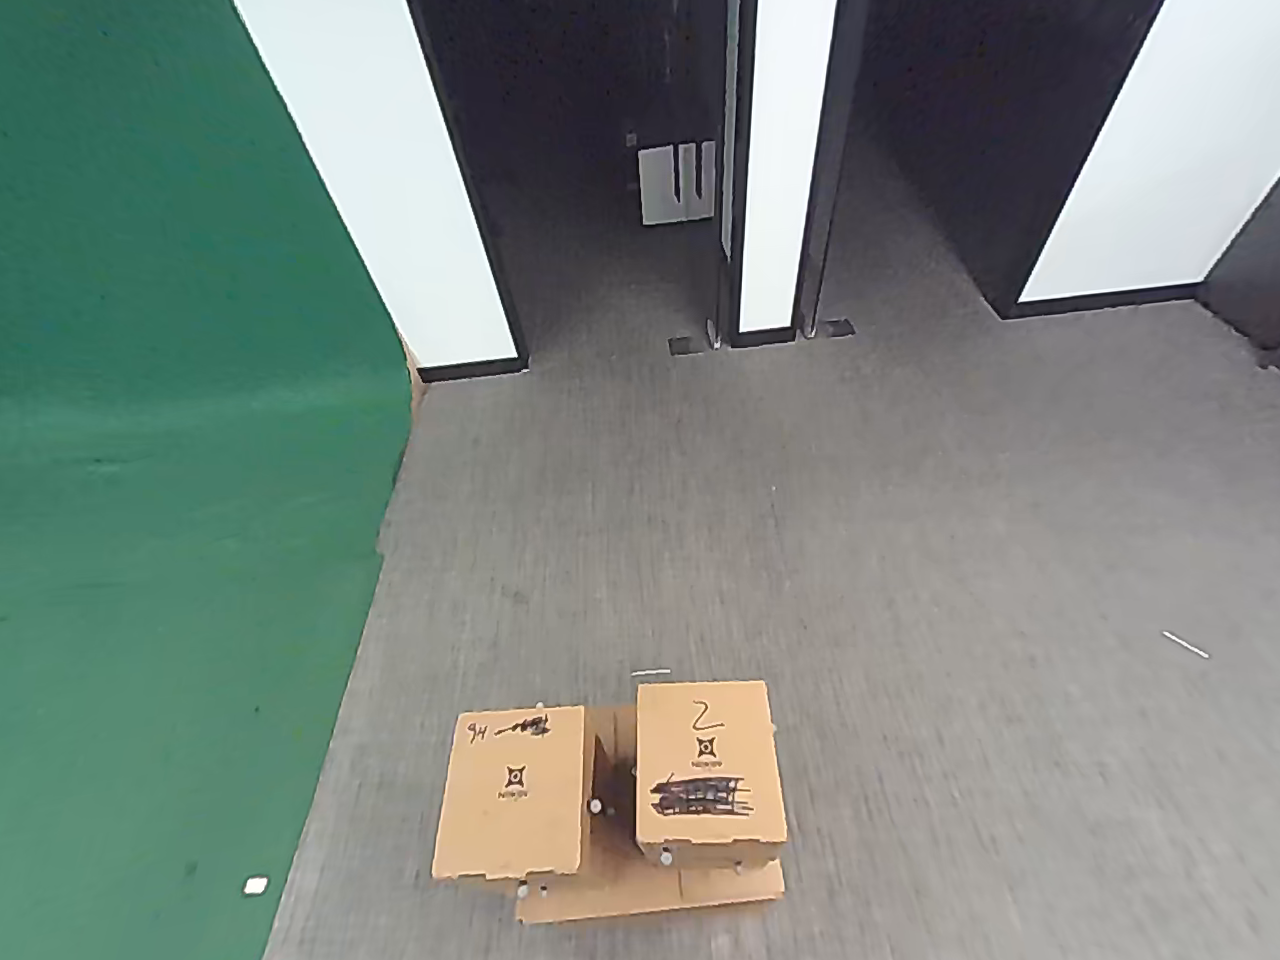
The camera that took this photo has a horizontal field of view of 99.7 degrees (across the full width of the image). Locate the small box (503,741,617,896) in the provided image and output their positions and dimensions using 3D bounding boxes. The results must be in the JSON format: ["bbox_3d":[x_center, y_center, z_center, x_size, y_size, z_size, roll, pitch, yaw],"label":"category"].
[{"bbox_3d":[-0.126,0.518,0.825,0.168,0.176,0.179,-5,51,2],"label":"small box"}]

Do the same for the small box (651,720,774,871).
[{"bbox_3d":[0.108,0.484,0.824,0.168,0.176,0.179,-4,49,5],"label":"small box"}]

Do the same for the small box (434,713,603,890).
[{"bbox_3d":[-0.140,0.417,0.696,0.168,0.176,0.179,-4,51,2],"label":"small box"}]
